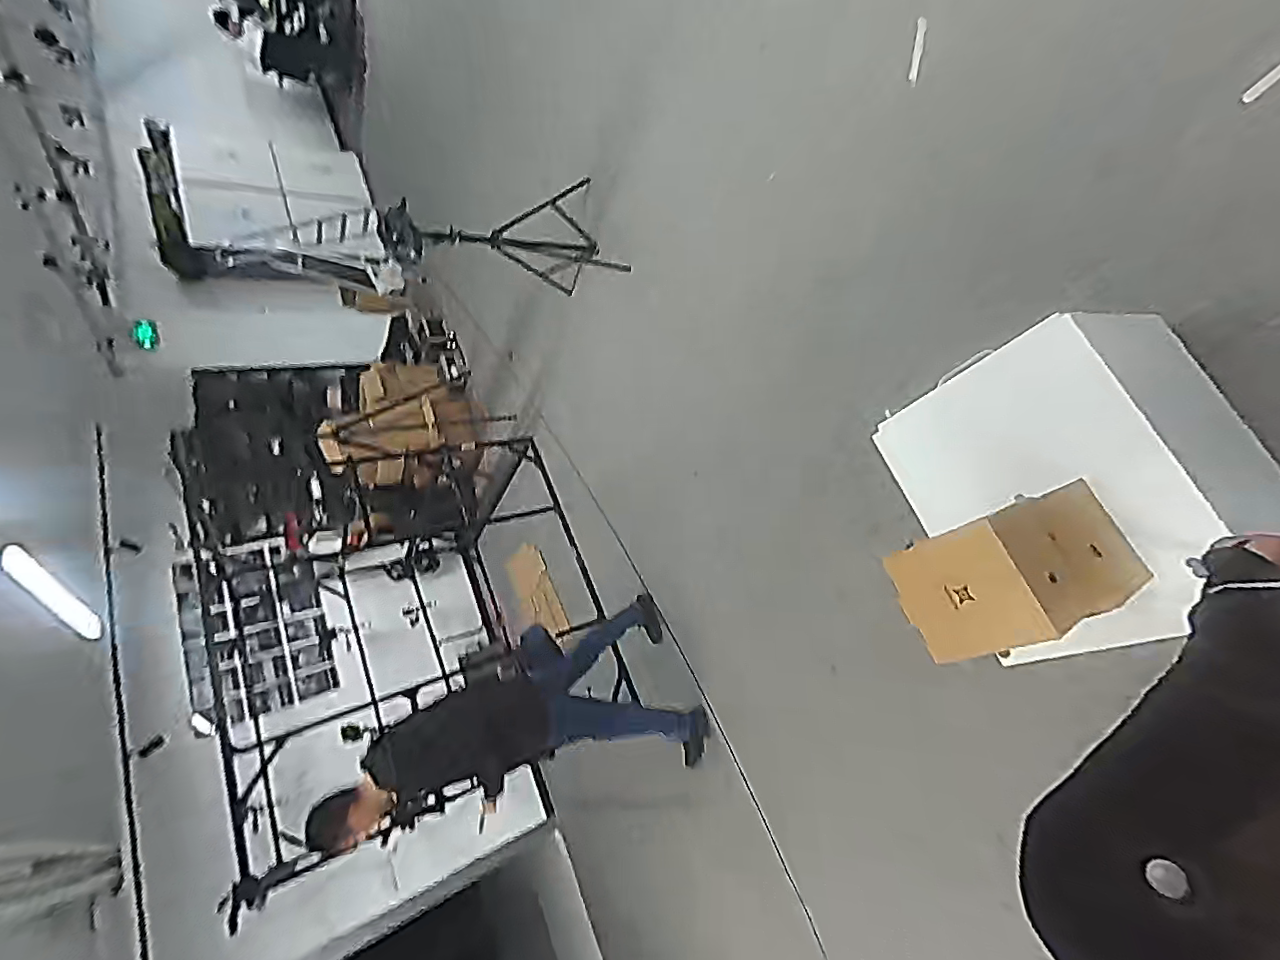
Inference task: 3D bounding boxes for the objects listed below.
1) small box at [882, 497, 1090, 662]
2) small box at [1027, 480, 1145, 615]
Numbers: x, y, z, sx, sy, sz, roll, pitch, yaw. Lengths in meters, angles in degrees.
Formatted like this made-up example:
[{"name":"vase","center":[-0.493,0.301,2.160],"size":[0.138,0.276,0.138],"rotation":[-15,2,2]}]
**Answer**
[{"name":"small box","center":[0.503,0.141,0.783],"size":[0.179,0.176,0.168],"rotation":[-46,62,51]},{"name":"small box","center":[0.644,0.118,0.862],"size":[0.168,0.176,0.179],"rotation":[-47,61,50]}]
